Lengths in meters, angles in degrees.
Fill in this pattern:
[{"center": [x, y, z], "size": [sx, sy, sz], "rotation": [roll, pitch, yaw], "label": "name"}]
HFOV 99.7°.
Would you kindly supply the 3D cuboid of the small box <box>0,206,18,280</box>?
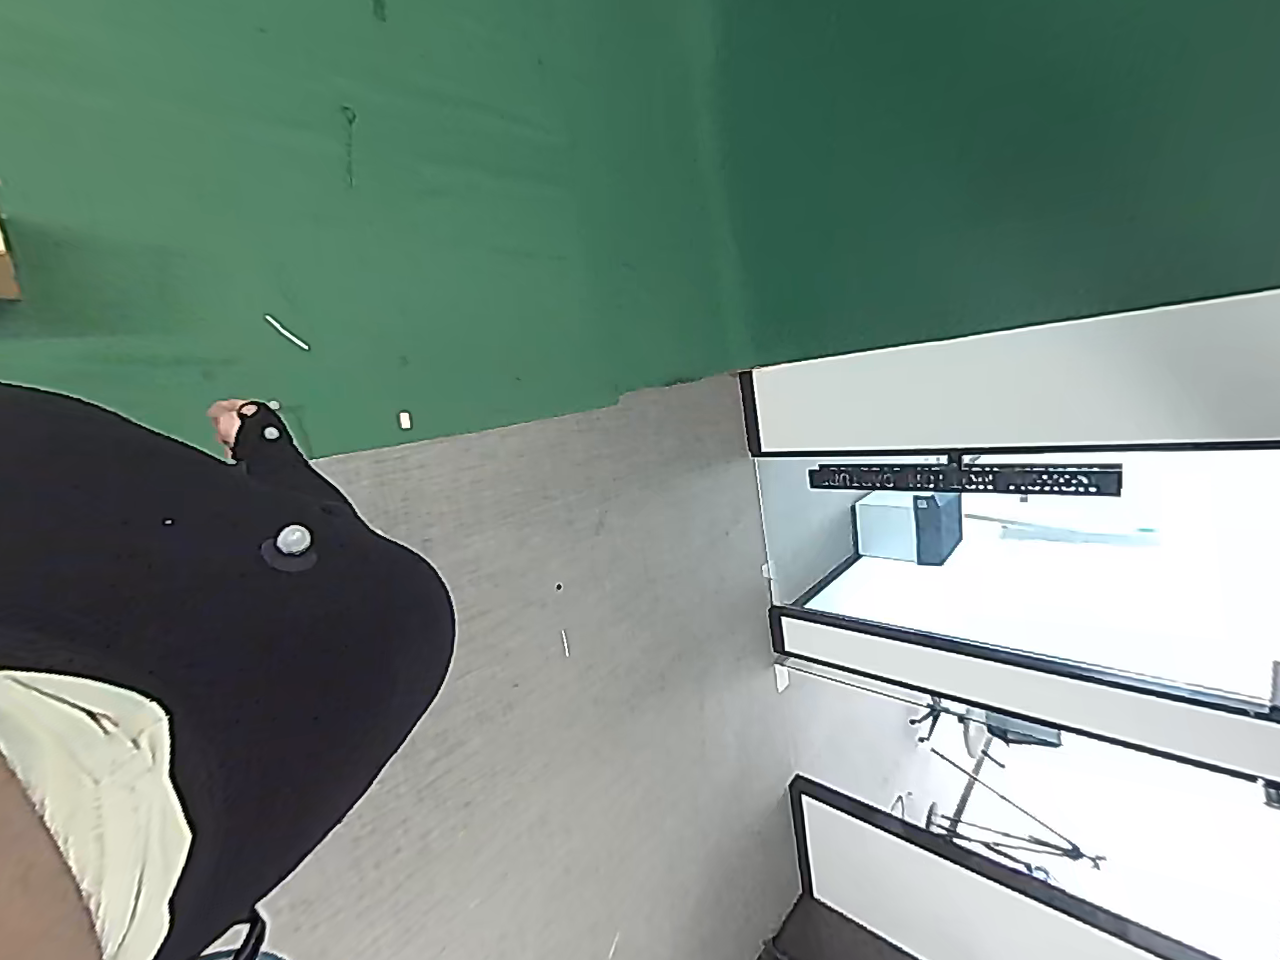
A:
[{"center": [-1.149, -0.436, 0.868], "size": [0.168, 0.176, 0.179], "rotation": [-17, 103, -44], "label": "small box"}]
